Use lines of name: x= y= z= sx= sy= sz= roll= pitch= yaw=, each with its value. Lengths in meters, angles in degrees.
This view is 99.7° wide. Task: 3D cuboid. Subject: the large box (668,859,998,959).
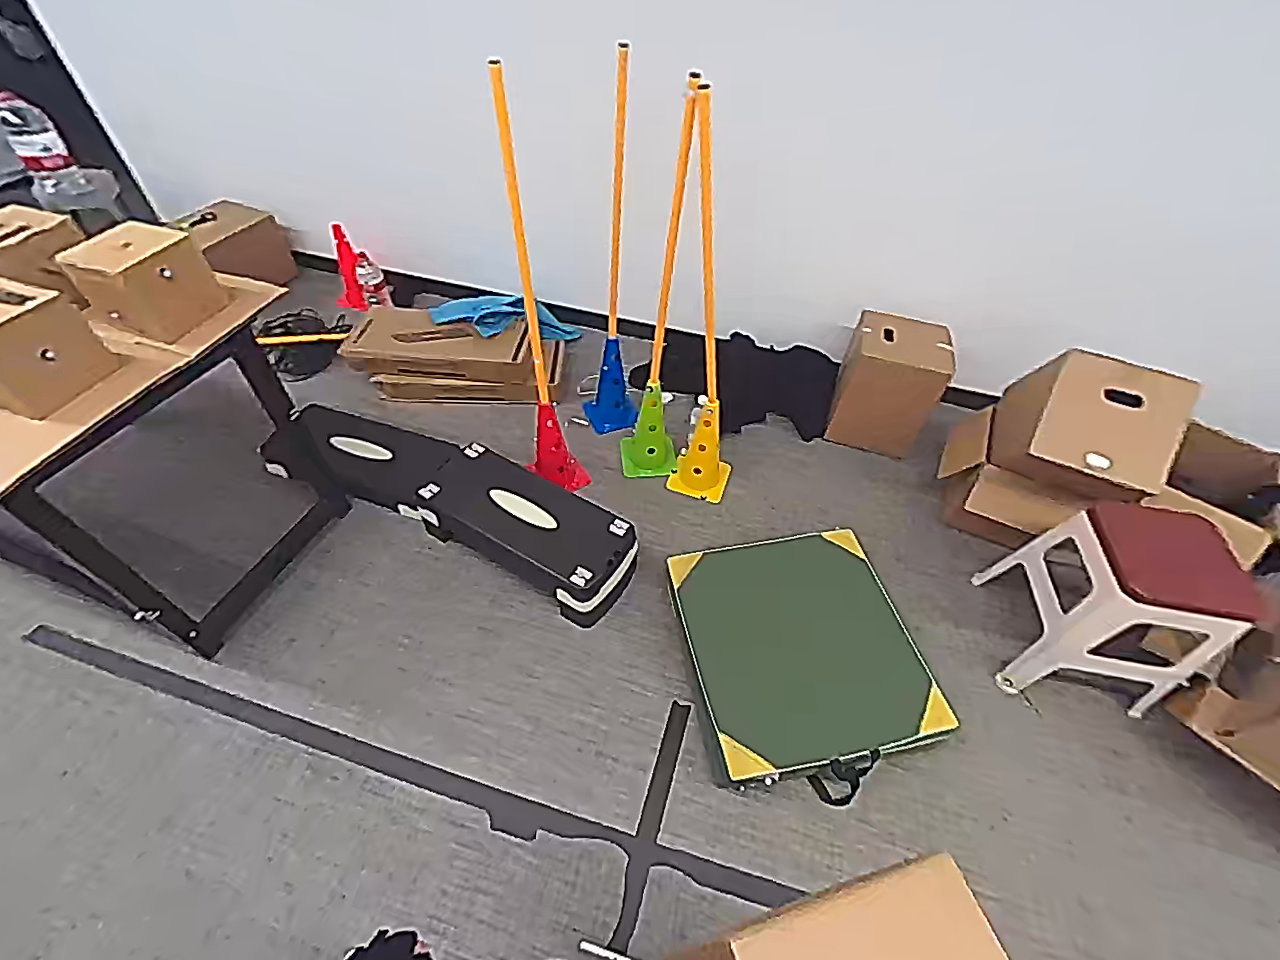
large box: x=0.254 y=0.735 z=0.684 sx=0.320 sy=0.408 sz=0.320 roll=-5 pitch=48 yaw=-15
